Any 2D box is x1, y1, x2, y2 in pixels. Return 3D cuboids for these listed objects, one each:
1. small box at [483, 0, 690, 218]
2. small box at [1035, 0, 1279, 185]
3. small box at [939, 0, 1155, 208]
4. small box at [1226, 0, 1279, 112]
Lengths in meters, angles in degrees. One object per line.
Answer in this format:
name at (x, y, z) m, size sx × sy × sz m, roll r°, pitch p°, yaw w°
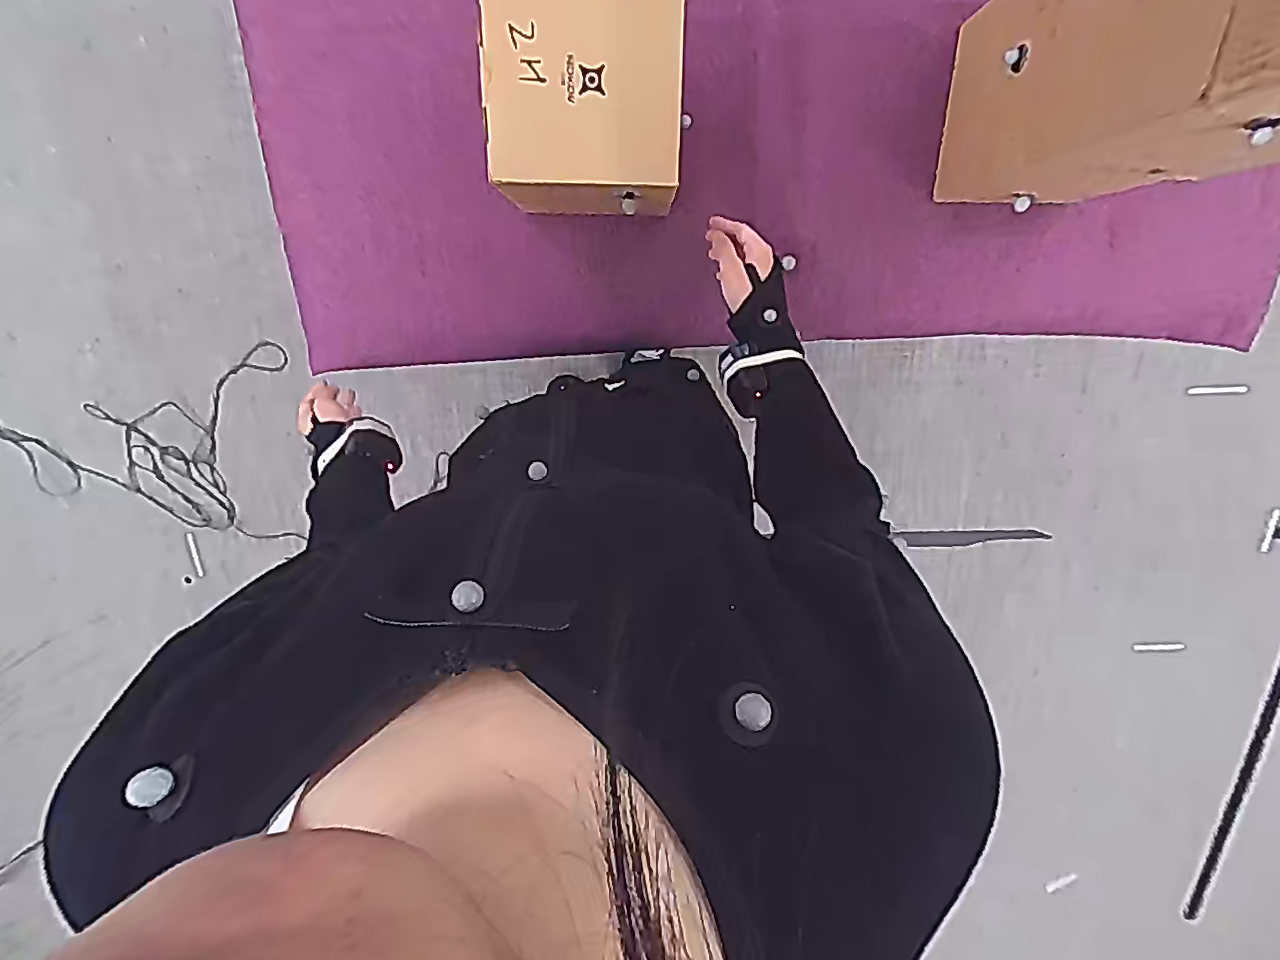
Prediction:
small box at (-0.047, -0.370, 0.545) m, size 0.179 × 0.176 × 0.168 m, roll 2°, pitch 107°, yaw 0°
small box at (0.430, -0.331, 0.385) m, size 0.168 × 0.176 × 0.179 m, roll 3°, pitch 107°, yaw 0°
small box at (0.430, -0.386, 0.540) m, size 0.168 × 0.176 × 0.179 m, roll 1°, pitch 108°, yaw 0°
small box at (0.430, -0.275, 0.231) m, size 0.168 × 0.176 × 0.179 m, roll 3°, pitch 107°, yaw 0°
